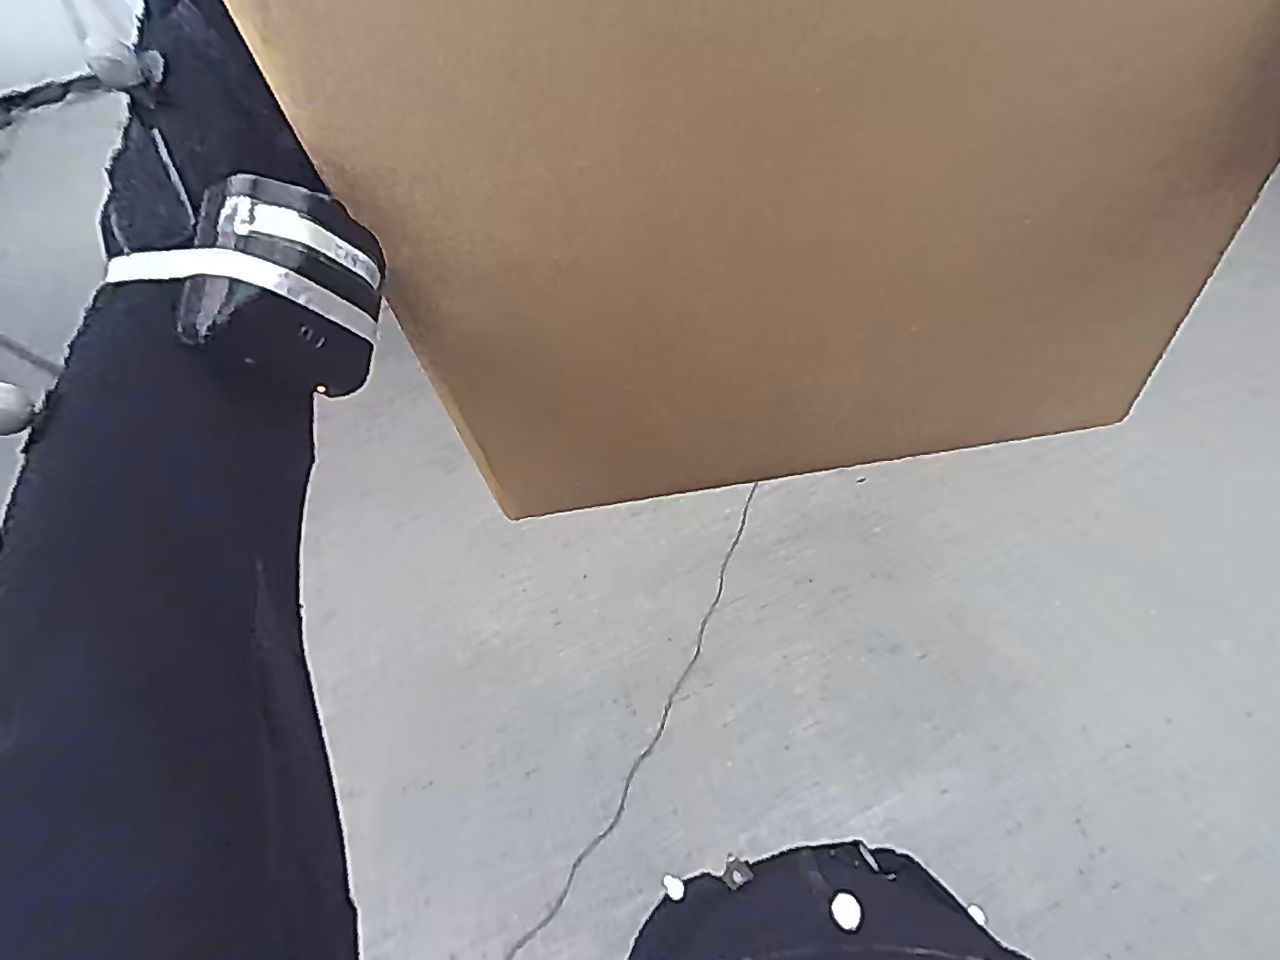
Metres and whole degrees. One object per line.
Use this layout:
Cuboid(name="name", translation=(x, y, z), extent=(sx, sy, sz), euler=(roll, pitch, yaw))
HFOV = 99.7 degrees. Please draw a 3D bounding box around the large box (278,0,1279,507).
Cuboid(name="large box", translation=(0.073, -0.216, 0.367), extent=(0.408, 0.320, 0.320), euler=(-9, 45, 4))
